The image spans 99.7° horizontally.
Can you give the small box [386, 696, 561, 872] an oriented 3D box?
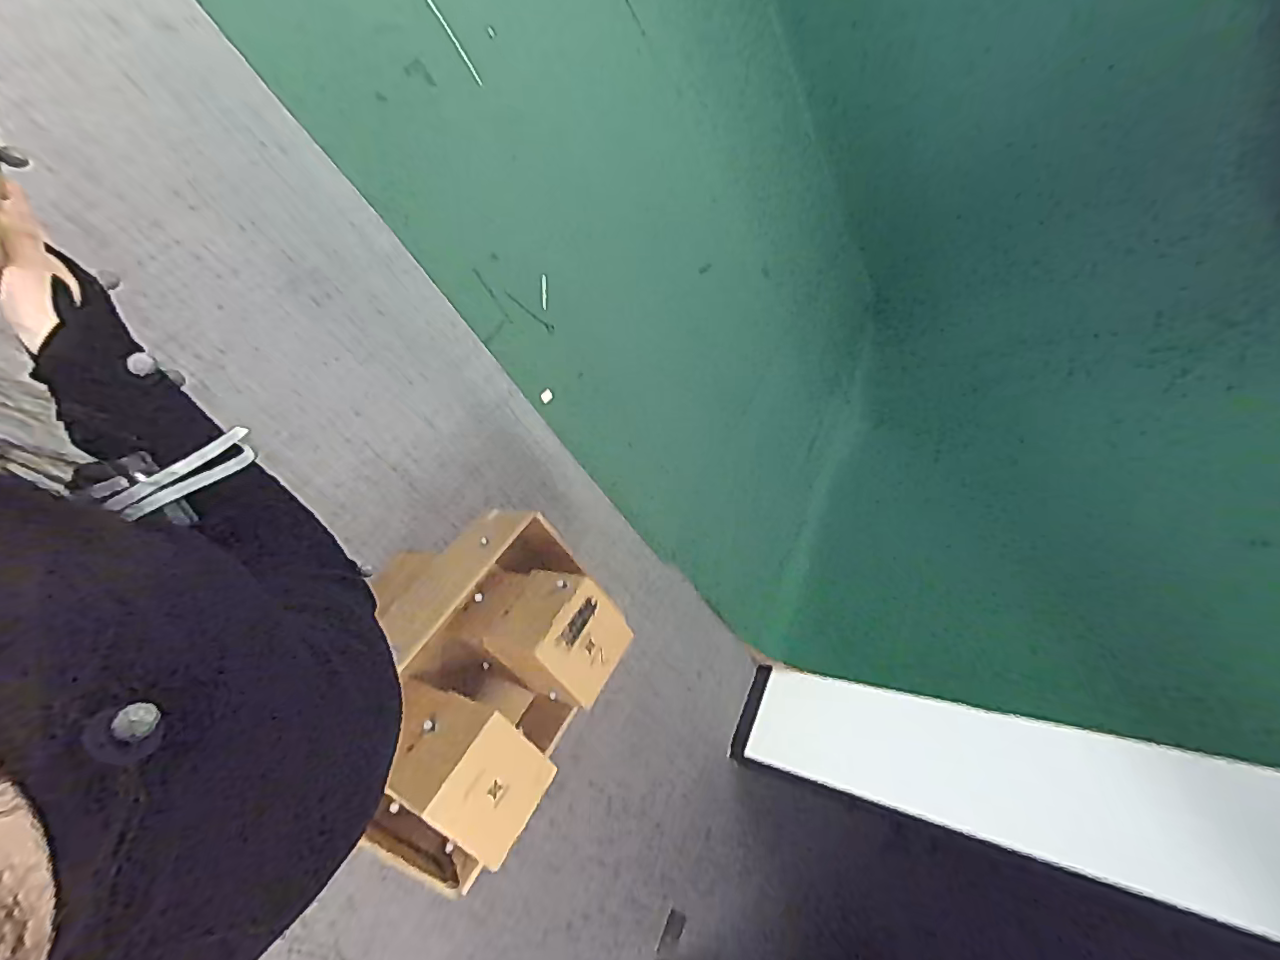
[{"bbox_3d":[-0.269,0.479,0.879,0.168,0.176,0.179,-52,120,-36],"label":"small box"}]
